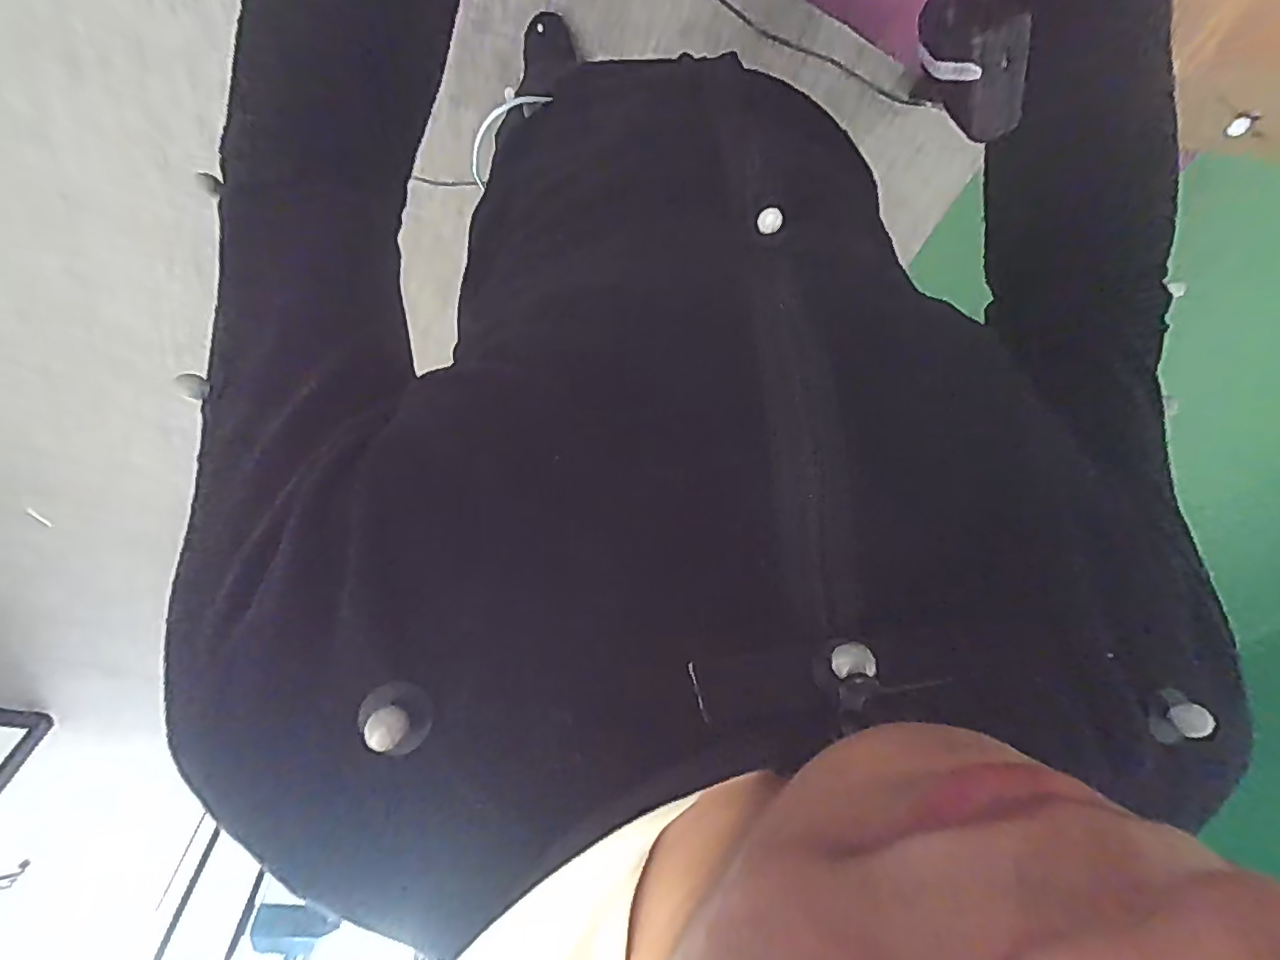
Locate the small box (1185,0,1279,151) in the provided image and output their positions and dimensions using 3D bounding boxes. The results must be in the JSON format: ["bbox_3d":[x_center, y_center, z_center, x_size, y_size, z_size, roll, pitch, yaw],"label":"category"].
[{"bbox_3d":[0.618,-0.378,0.426,0.168,0.176,0.179,20,125,-18],"label":"small box"}]
